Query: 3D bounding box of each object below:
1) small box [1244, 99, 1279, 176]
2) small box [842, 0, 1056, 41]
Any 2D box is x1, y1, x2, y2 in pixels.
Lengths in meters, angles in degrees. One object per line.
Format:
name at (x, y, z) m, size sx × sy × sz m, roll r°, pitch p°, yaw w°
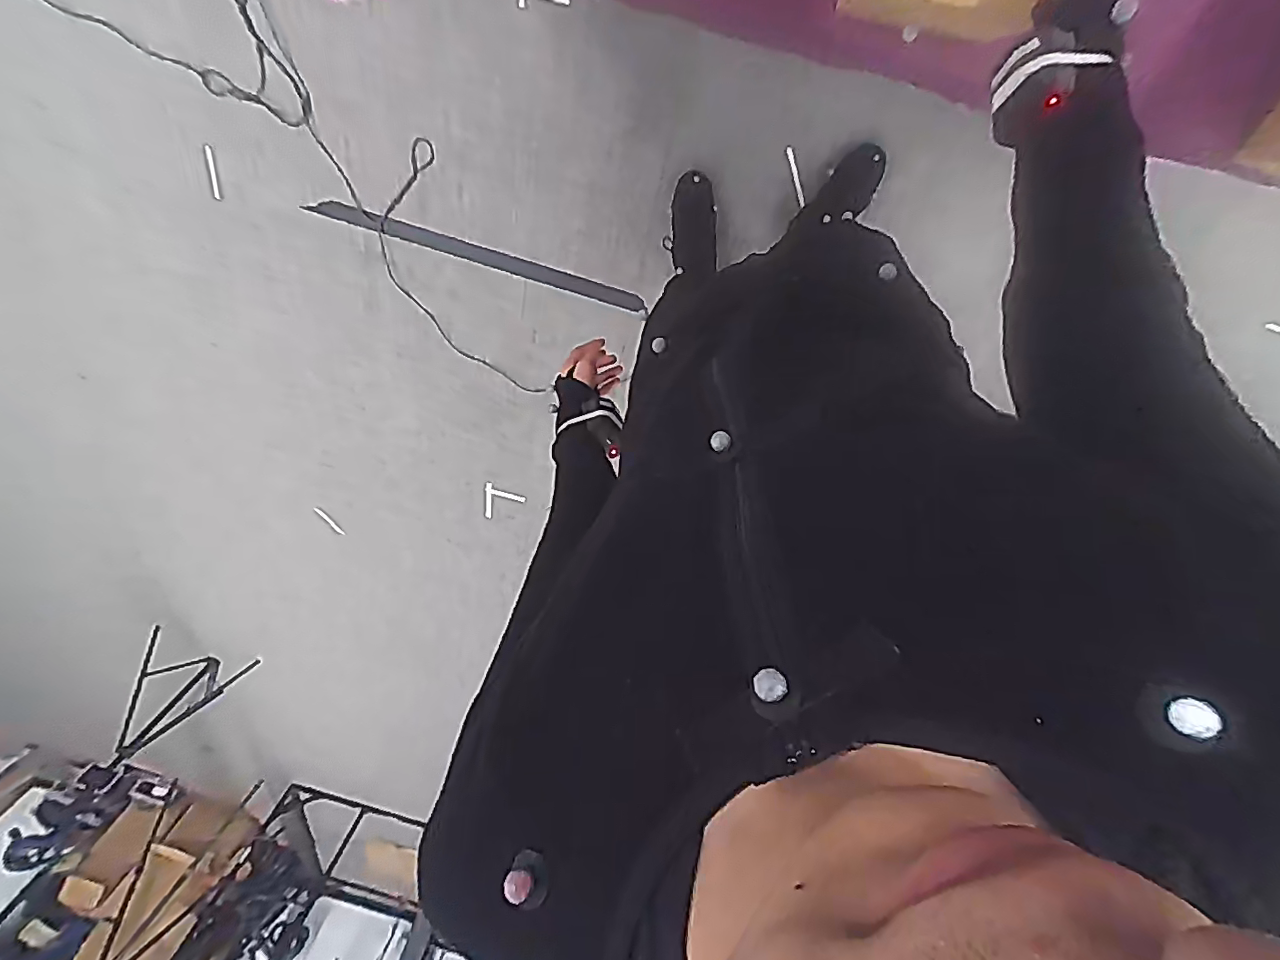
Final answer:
small box at (0.737, -0.352, 0.482) m, size 0.168 × 0.176 × 0.179 m, roll 20°, pitch 126°, yaw -1°
small box at (0.289, -0.514, 0.471) m, size 0.168 × 0.176 × 0.179 m, roll 14°, pitch 127°, yaw 3°
